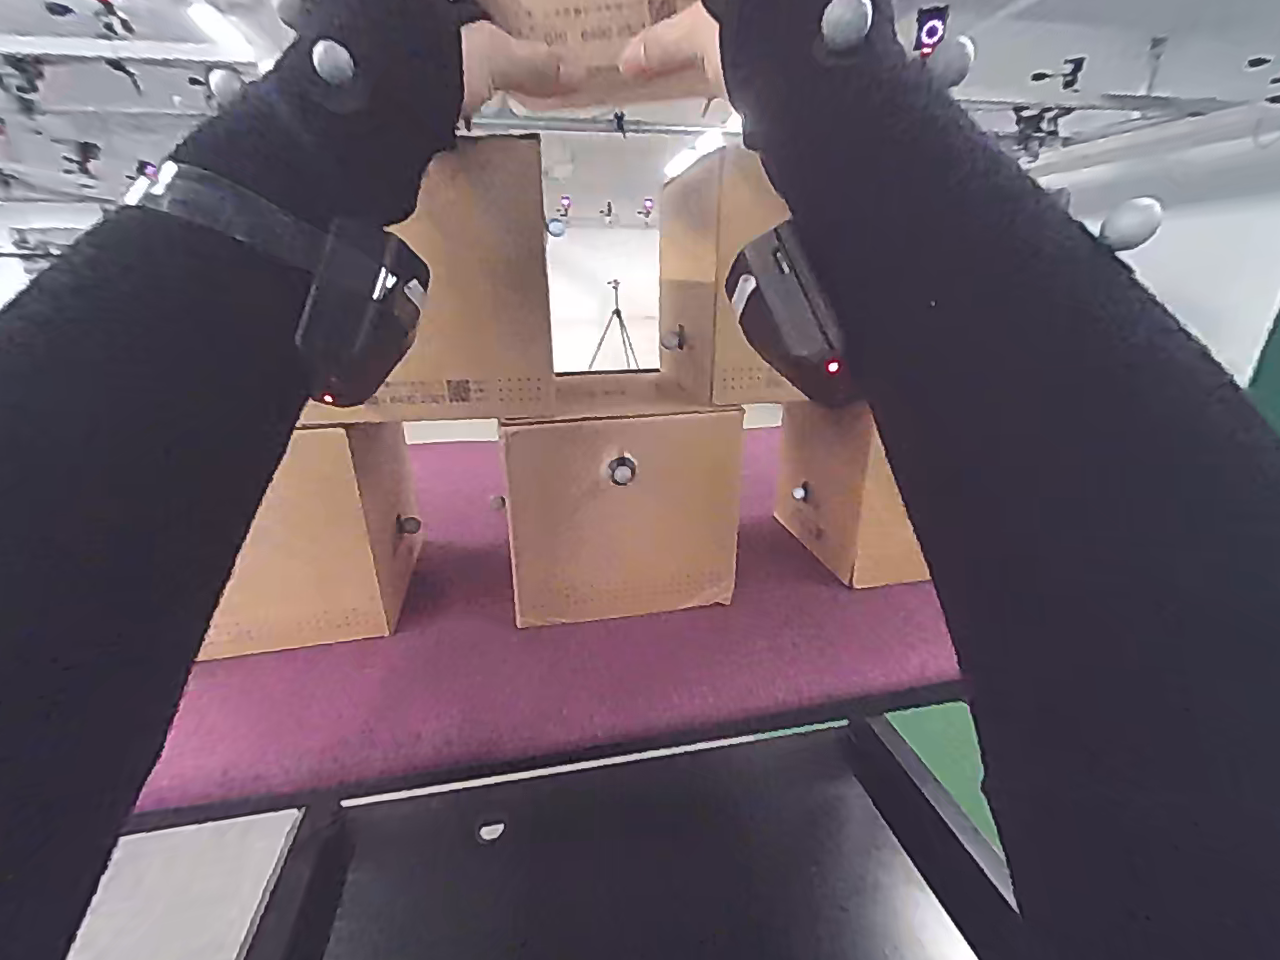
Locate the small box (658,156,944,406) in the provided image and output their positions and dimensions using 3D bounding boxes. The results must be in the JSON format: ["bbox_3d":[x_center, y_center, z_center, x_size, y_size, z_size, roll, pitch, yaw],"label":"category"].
[{"bbox_3d":[0.112,-0.159,0.454,0.168,0.176,0.179,-4,21,-10],"label":"small box"}]

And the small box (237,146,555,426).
[{"bbox_3d":[-0.152,-0.139,0.411,0.168,0.176,0.179,-3,20,-8],"label":"small box"}]

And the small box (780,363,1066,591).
[{"bbox_3d":[0.249,-0.012,0.524,0.179,0.176,0.168,-6,21,-8],"label":"small box"}]

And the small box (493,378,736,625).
[{"bbox_3d":[-0.025,0.011,0.476,0.179,0.176,0.168,-4,21,-9],"label":"small box"}]
